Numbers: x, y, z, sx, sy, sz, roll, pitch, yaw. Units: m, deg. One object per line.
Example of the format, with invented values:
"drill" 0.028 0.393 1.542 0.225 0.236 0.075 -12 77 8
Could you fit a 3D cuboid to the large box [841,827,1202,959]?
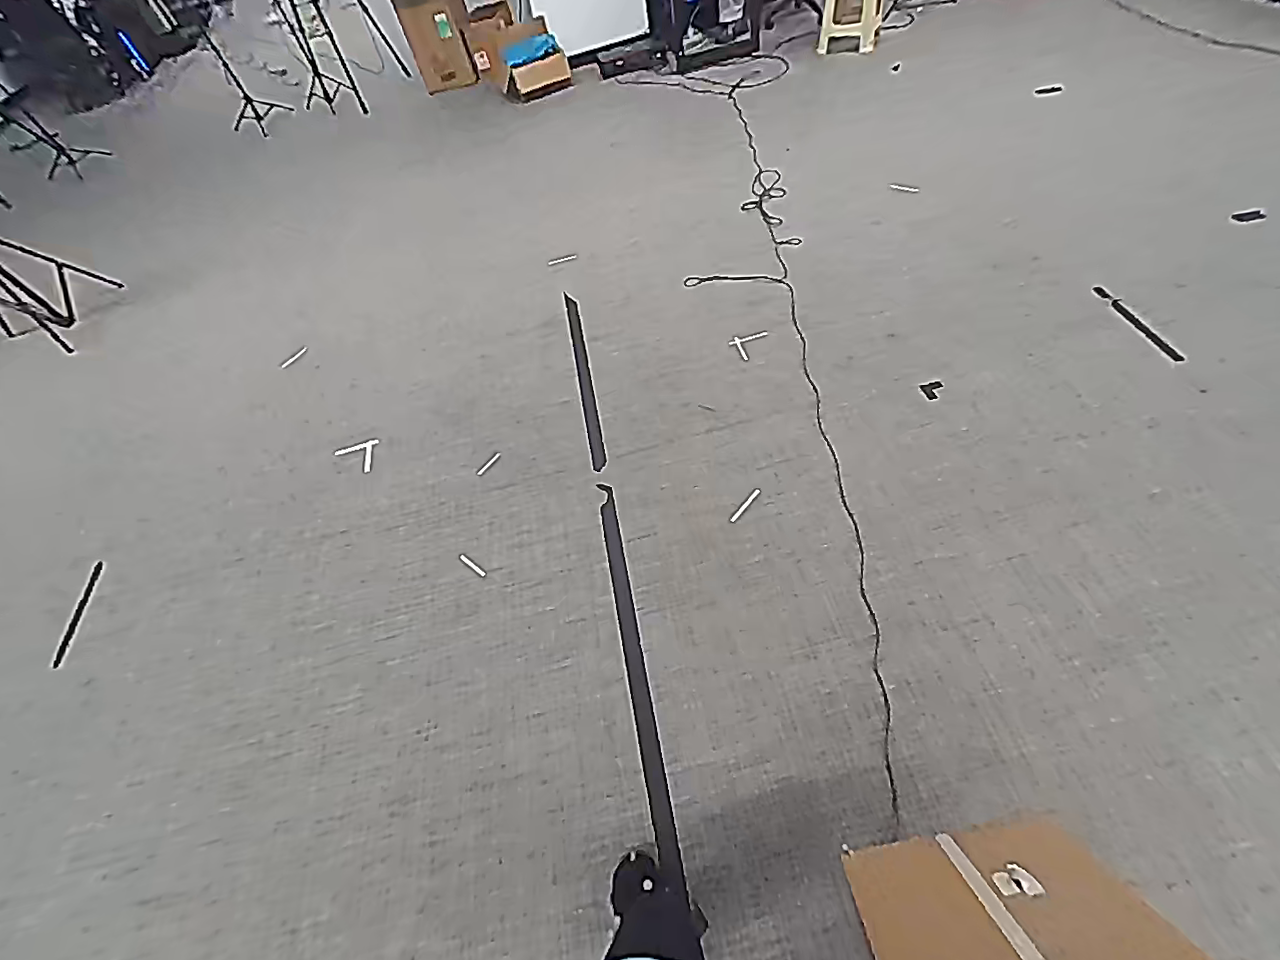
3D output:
"large box" 0.469 0.678 0.612 0.320 0.408 0.320 -15 80 6
